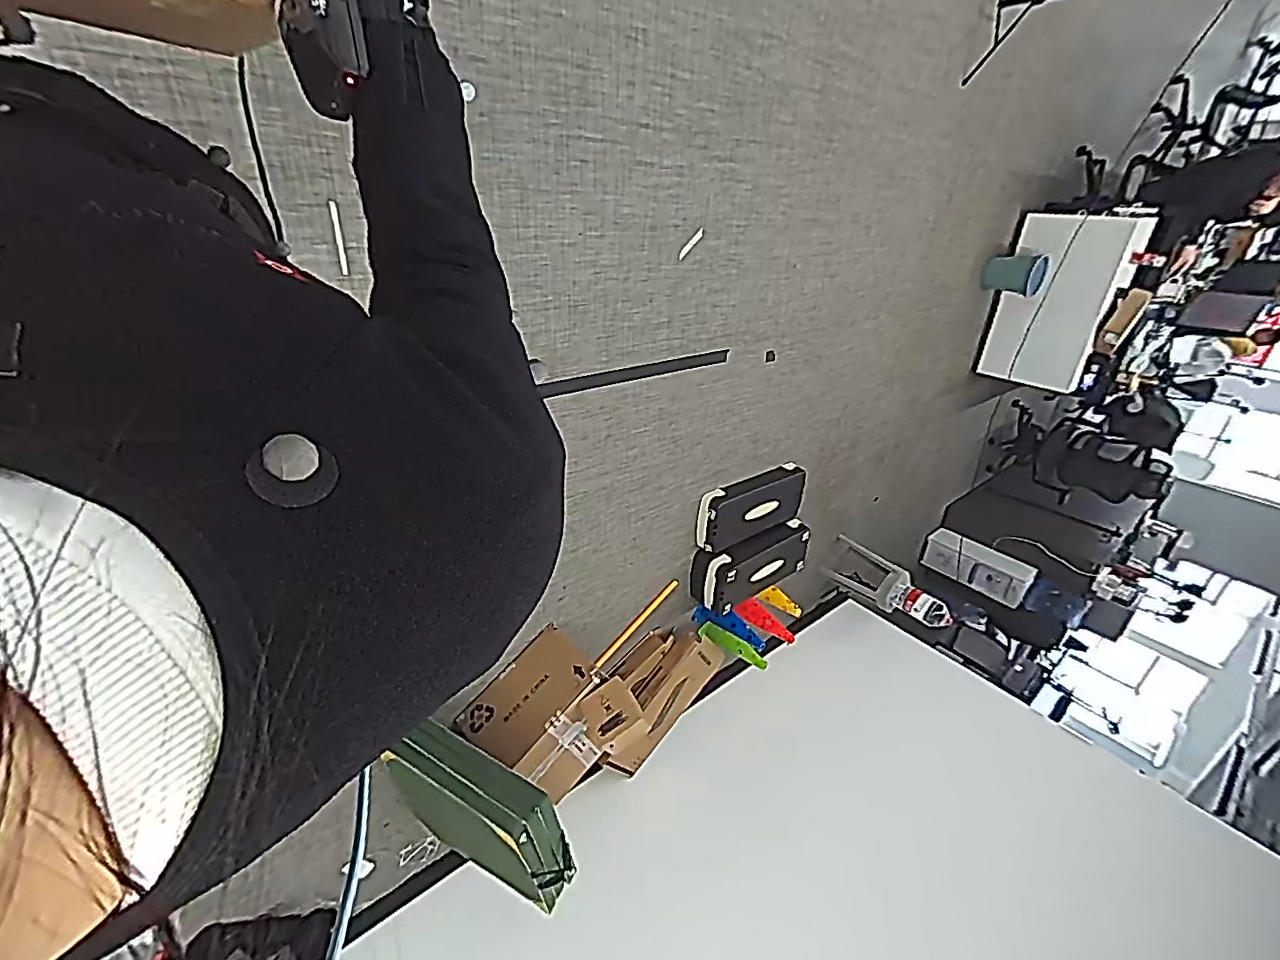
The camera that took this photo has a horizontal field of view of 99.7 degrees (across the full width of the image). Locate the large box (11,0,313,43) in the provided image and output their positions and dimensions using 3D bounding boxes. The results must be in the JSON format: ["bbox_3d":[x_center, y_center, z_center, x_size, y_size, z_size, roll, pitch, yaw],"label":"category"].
[{"bbox_3d":[-0.448,-0.465,0.263,0.408,0.320,0.320,-18,128,-40],"label":"large box"}]
